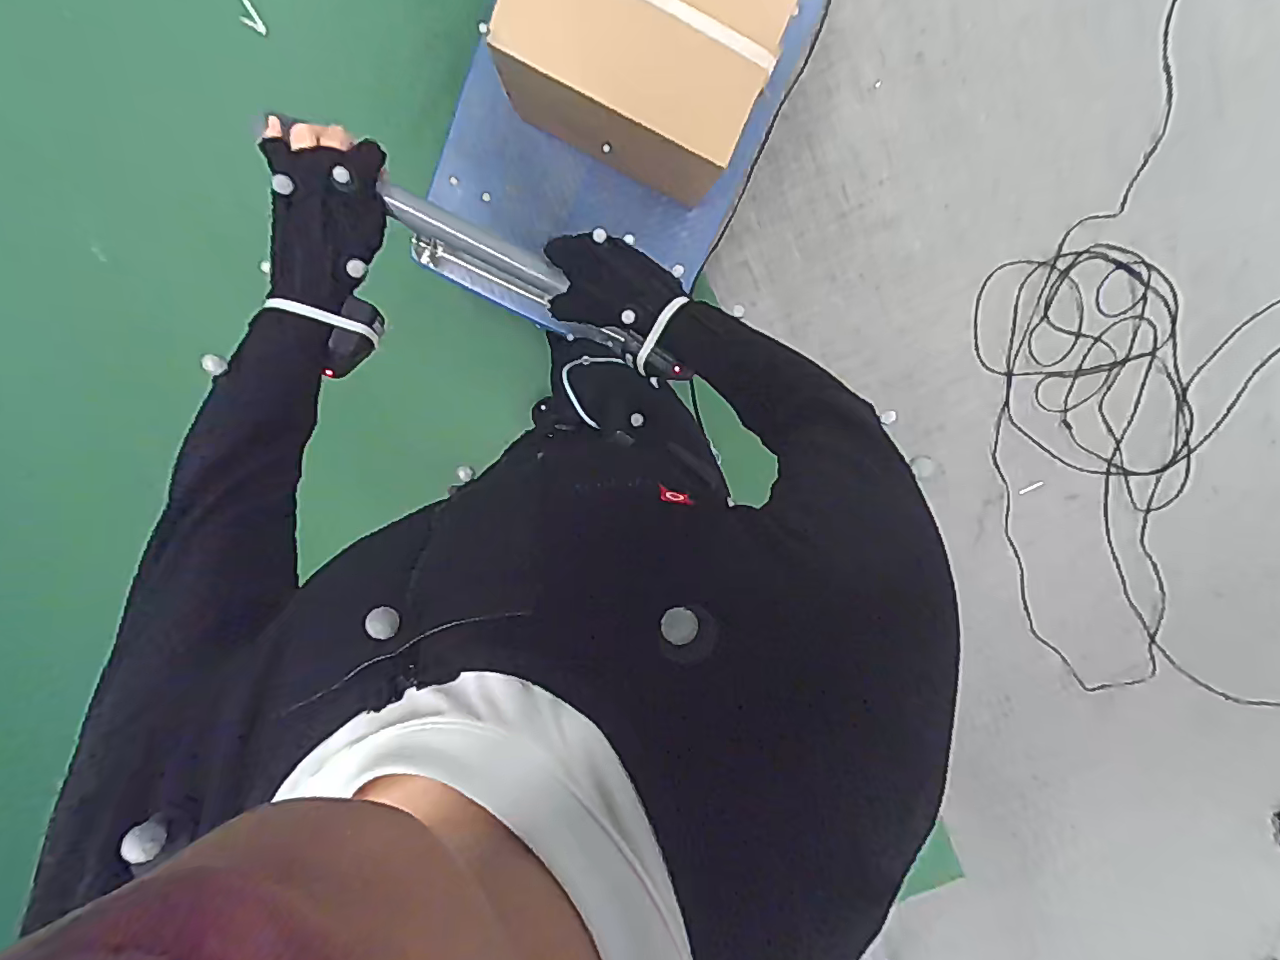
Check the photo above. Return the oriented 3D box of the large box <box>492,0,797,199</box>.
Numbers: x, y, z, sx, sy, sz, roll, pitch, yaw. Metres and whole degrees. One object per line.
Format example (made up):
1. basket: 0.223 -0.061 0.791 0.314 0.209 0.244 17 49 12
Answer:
1. large box: 0.010 -0.756 0.947 0.408 0.320 0.320 22 103 -10
